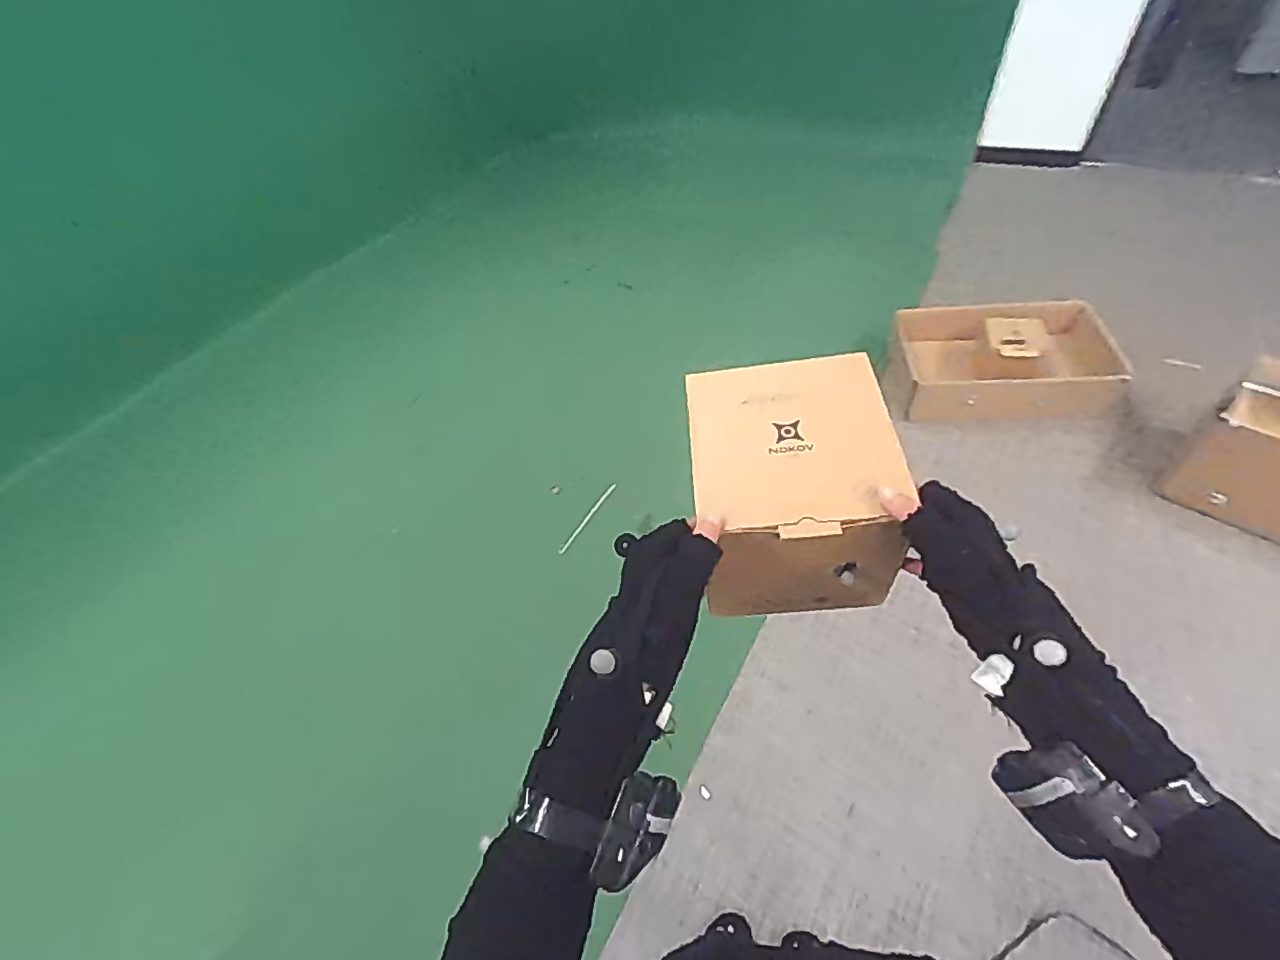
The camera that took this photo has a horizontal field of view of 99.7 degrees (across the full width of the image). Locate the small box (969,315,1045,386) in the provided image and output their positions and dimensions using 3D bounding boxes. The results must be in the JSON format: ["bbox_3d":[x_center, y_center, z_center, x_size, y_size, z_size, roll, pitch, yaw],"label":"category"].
[{"bbox_3d":[1.233,-0.437,1.828,0.168,0.176,0.179,7,52,16],"label":"small box"}]

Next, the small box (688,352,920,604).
[{"bbox_3d":[0.138,0.008,0.512,0.168,0.176,0.179,-5,53,7],"label":"small box"}]
